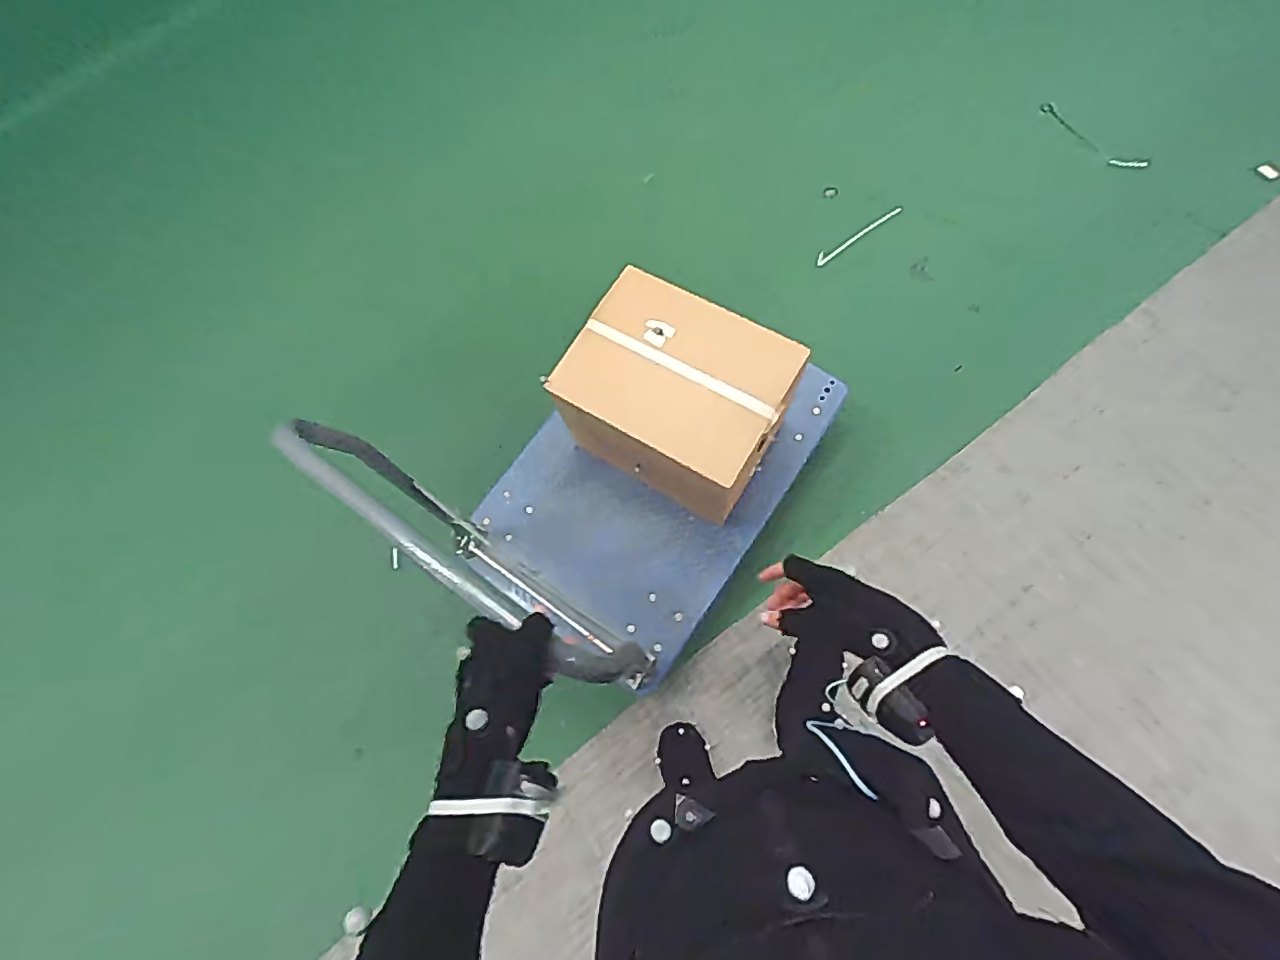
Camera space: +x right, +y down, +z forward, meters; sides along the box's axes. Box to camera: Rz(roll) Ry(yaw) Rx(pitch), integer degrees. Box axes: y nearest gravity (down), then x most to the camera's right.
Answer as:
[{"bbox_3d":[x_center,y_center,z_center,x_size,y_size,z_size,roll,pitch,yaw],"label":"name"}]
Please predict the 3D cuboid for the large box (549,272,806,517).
[{"bbox_3d":[0.086,-0.166,1.164,0.408,0.320,0.320,28,77,14],"label":"large box"}]
